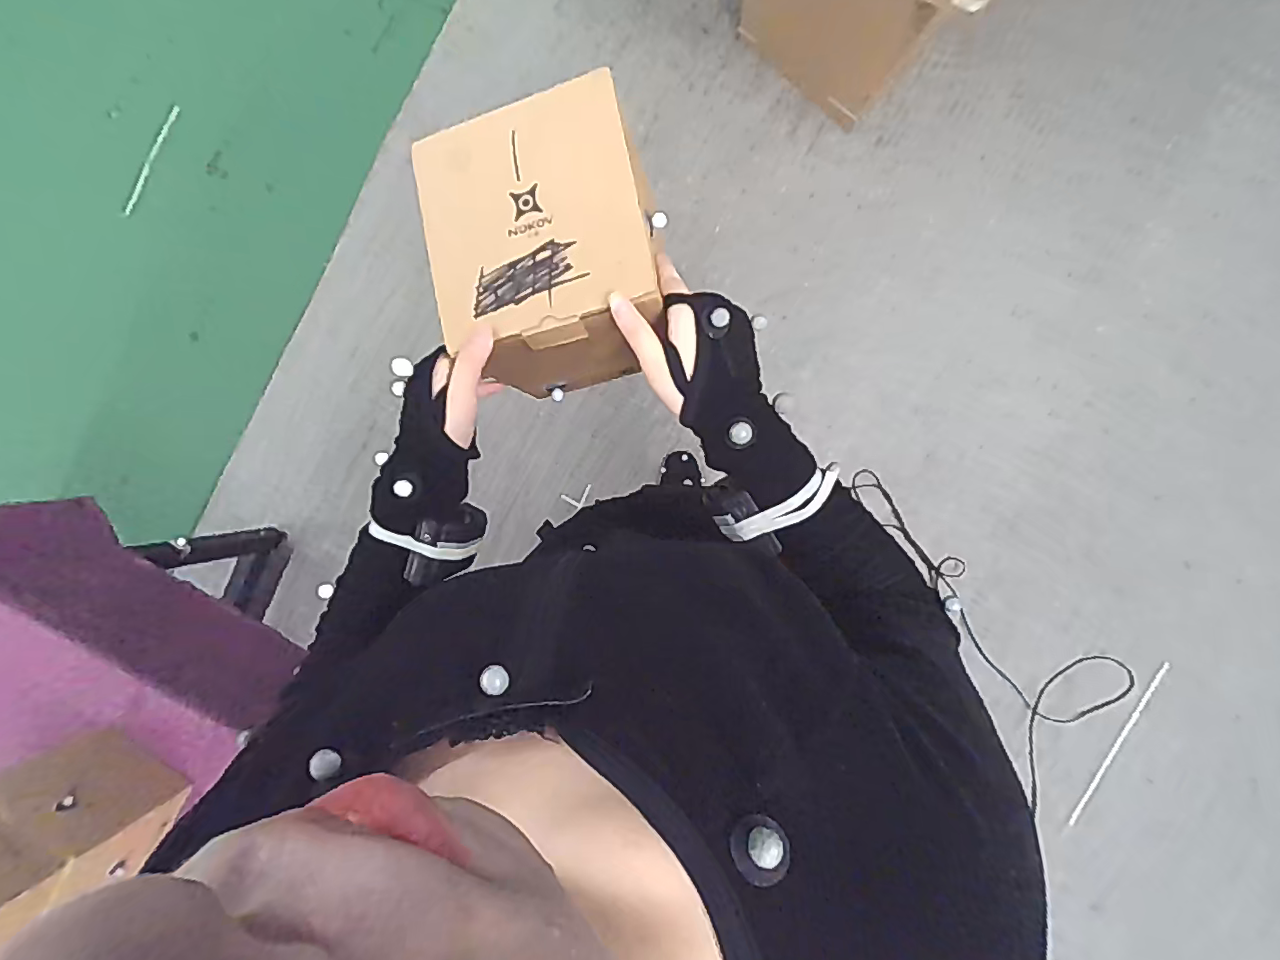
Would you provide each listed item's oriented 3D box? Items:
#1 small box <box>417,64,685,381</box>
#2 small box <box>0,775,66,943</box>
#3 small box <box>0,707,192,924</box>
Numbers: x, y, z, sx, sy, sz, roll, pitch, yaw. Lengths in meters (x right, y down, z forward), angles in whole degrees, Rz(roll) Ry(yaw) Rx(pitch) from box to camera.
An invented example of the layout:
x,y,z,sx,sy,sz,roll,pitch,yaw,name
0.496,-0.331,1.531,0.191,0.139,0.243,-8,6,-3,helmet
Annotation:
x,y,z,sx,sy,sz,roll,pitch,yaw,name
-0.063,-0.195,0.474,0.168,0.176,0.179,-12,84,12,small box
-0.842,0.479,0.627,0.168,0.176,0.179,33,95,5,small box
-0.820,0.468,0.788,0.179,0.176,0.168,33,94,5,small box
